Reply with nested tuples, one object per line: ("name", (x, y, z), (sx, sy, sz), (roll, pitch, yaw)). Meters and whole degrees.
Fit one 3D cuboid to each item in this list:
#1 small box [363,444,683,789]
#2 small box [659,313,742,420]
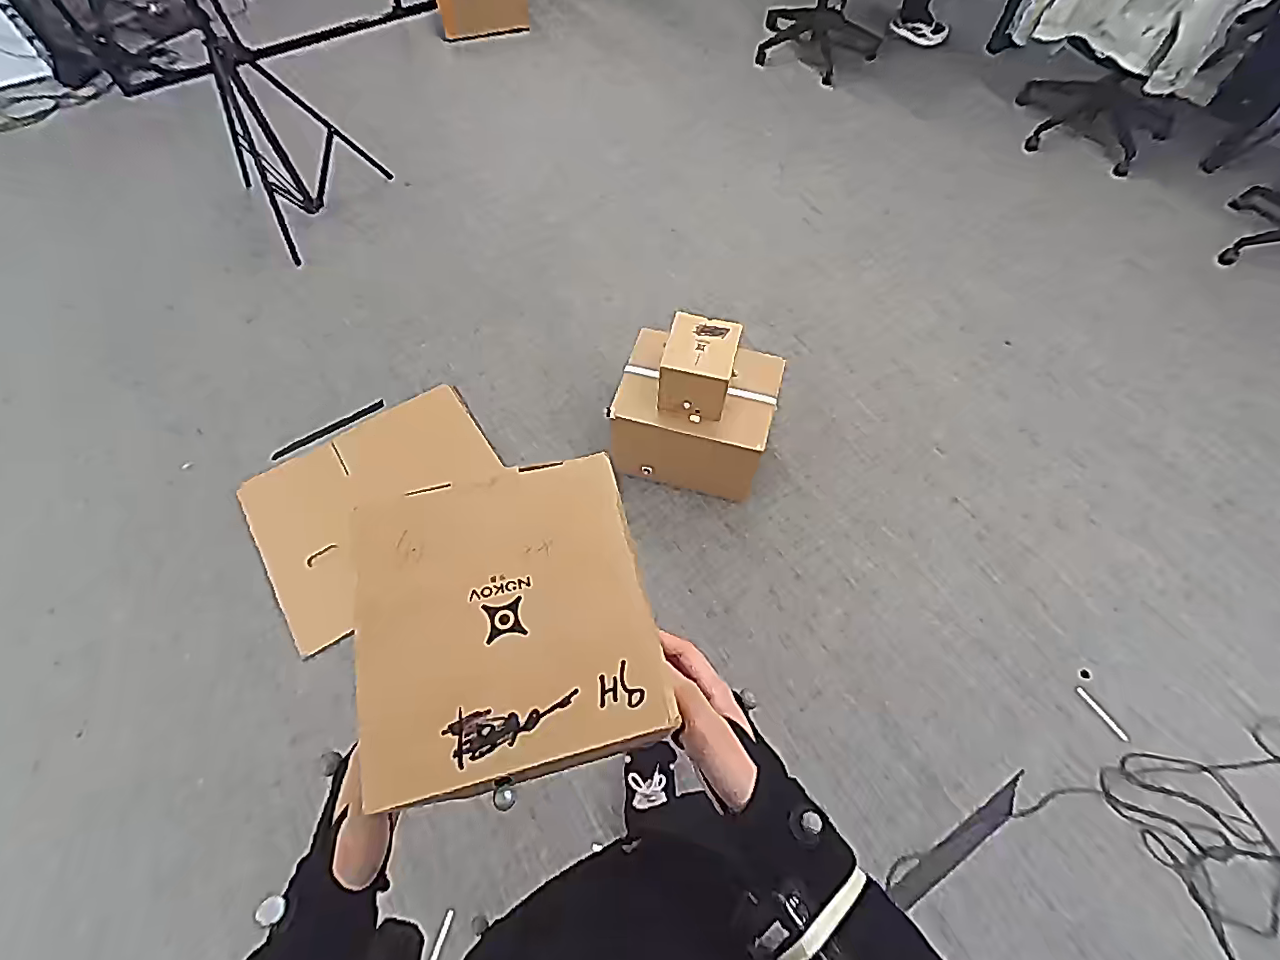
("small box", (-0.078, 0.103, 0.385), (0.168, 0.176, 0.179), (-13, 63, -8))
("small box", (0.143, -0.276, 1.335), (0.168, 0.176, 0.179), (13, 64, 7))
